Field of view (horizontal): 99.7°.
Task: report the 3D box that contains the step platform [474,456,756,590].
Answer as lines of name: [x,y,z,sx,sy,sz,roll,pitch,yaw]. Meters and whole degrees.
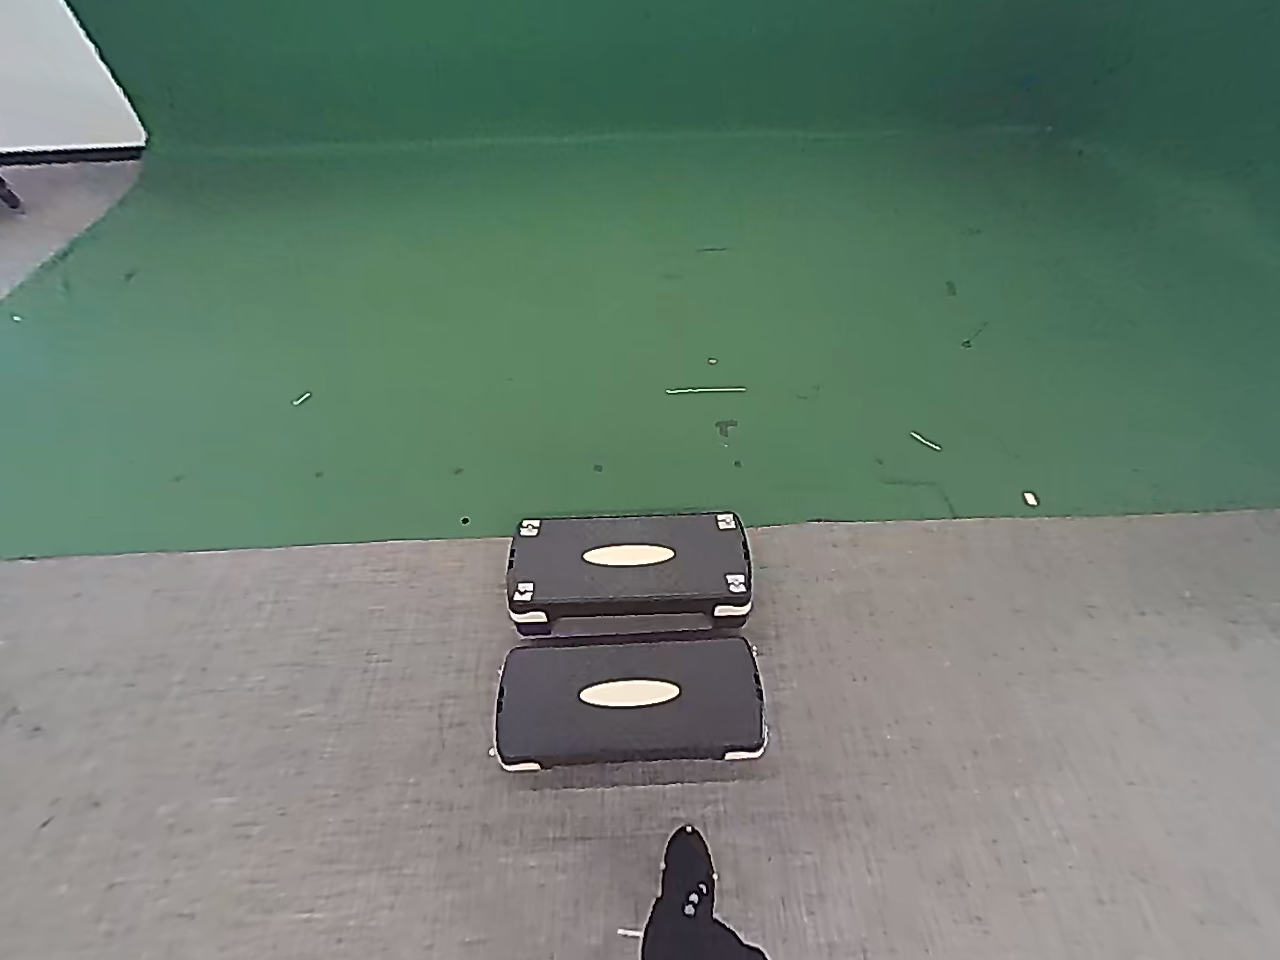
step platform: [-0.060,0.114,1.400,0.684,0.204,0.286,-2,53,0]
